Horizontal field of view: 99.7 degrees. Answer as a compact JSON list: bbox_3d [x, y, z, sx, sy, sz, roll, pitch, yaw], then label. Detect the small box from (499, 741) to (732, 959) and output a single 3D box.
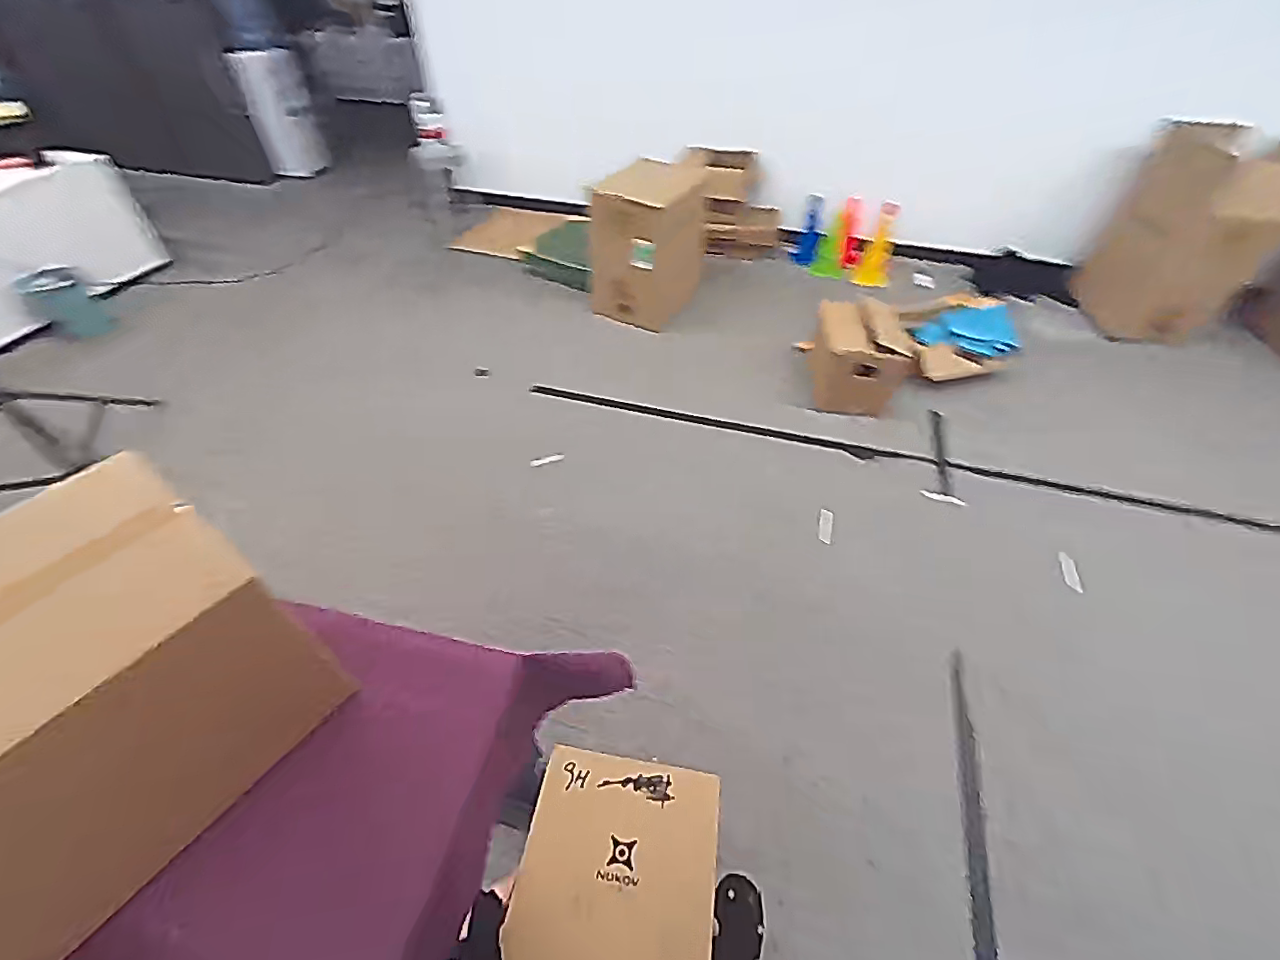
[{"bbox_3d":[-0.012,0.379,0.501,0.168,0.176,0.179,8,42,7],"label":"small box"}]
